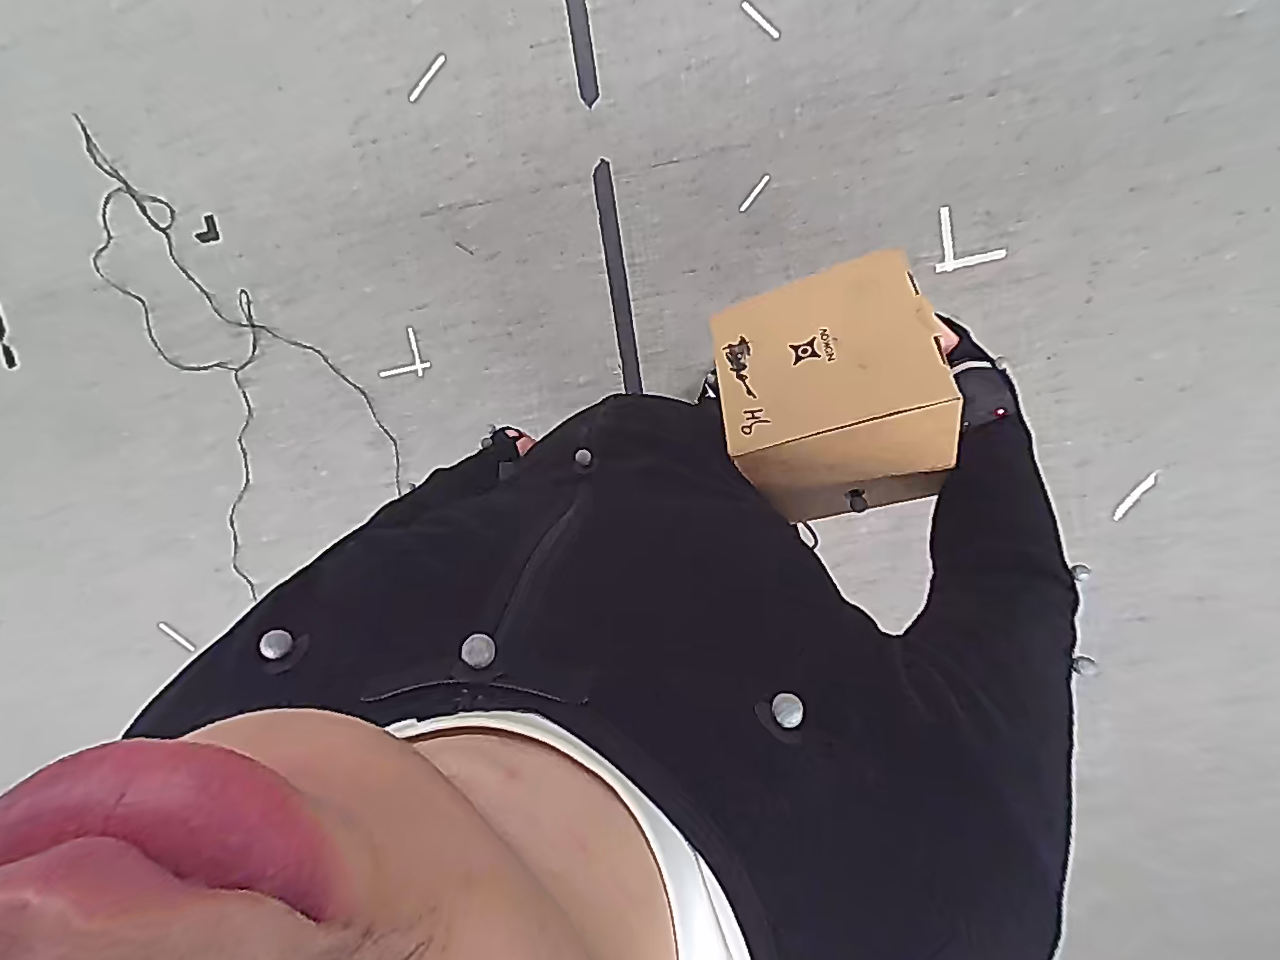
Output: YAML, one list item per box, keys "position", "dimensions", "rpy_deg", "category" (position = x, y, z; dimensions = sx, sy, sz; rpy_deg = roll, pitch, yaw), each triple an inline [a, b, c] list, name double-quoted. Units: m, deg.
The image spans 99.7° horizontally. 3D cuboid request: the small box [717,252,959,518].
- position: [0.190, -0.079, 0.535]
  dimensions: [0.179, 0.176, 0.168]
  rpy_deg: [-15, 58, 21]
  category: "small box"
